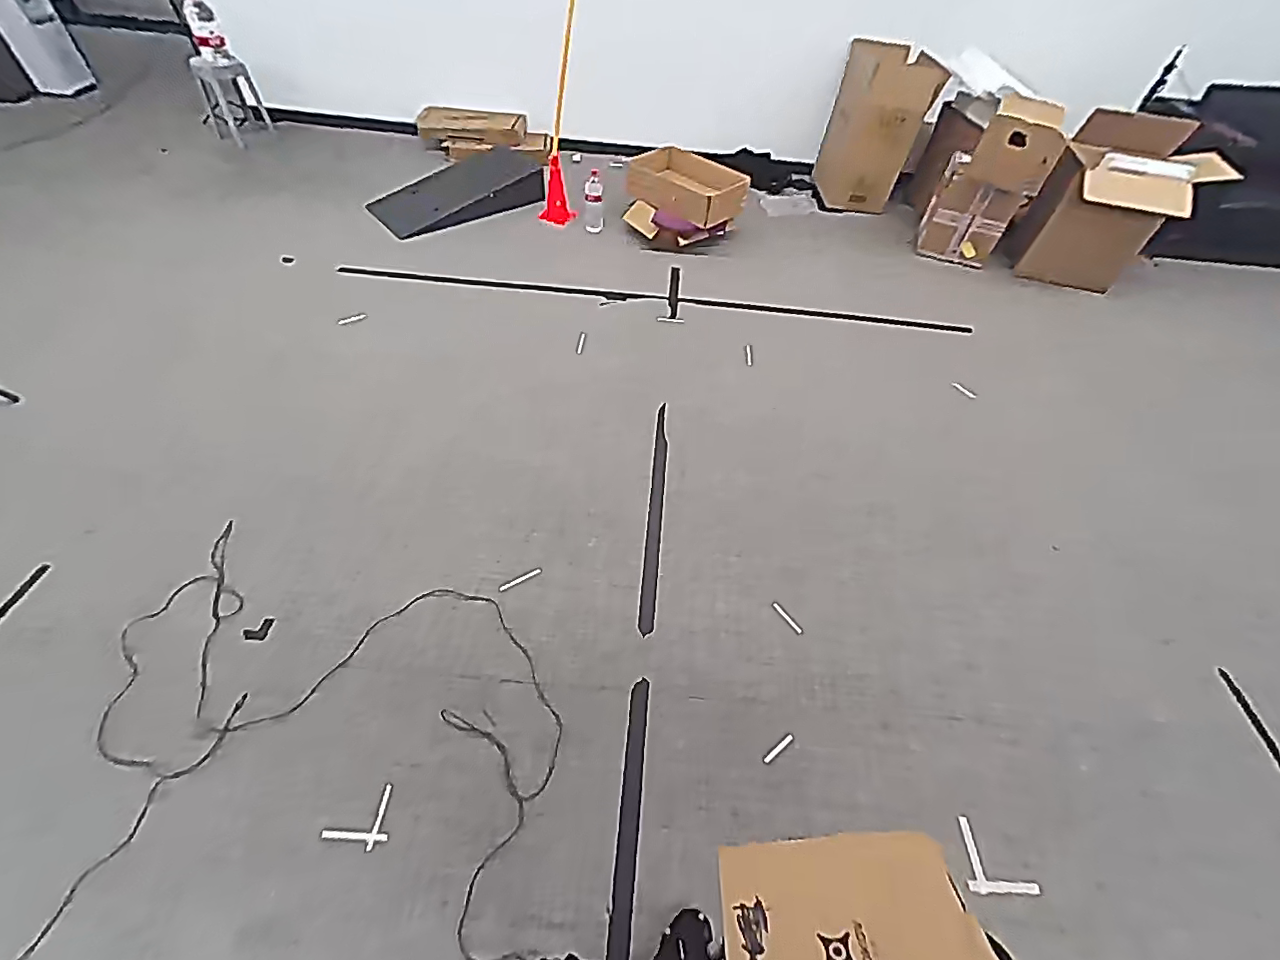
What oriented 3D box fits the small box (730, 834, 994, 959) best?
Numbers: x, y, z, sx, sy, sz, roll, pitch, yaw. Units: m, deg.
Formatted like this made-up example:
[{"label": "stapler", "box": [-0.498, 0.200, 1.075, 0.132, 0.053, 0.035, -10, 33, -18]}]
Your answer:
[{"label": "small box", "box": [0.170, 0.408, 0.408, 0.179, 0.176, 0.168, -9, 17, 7]}]
